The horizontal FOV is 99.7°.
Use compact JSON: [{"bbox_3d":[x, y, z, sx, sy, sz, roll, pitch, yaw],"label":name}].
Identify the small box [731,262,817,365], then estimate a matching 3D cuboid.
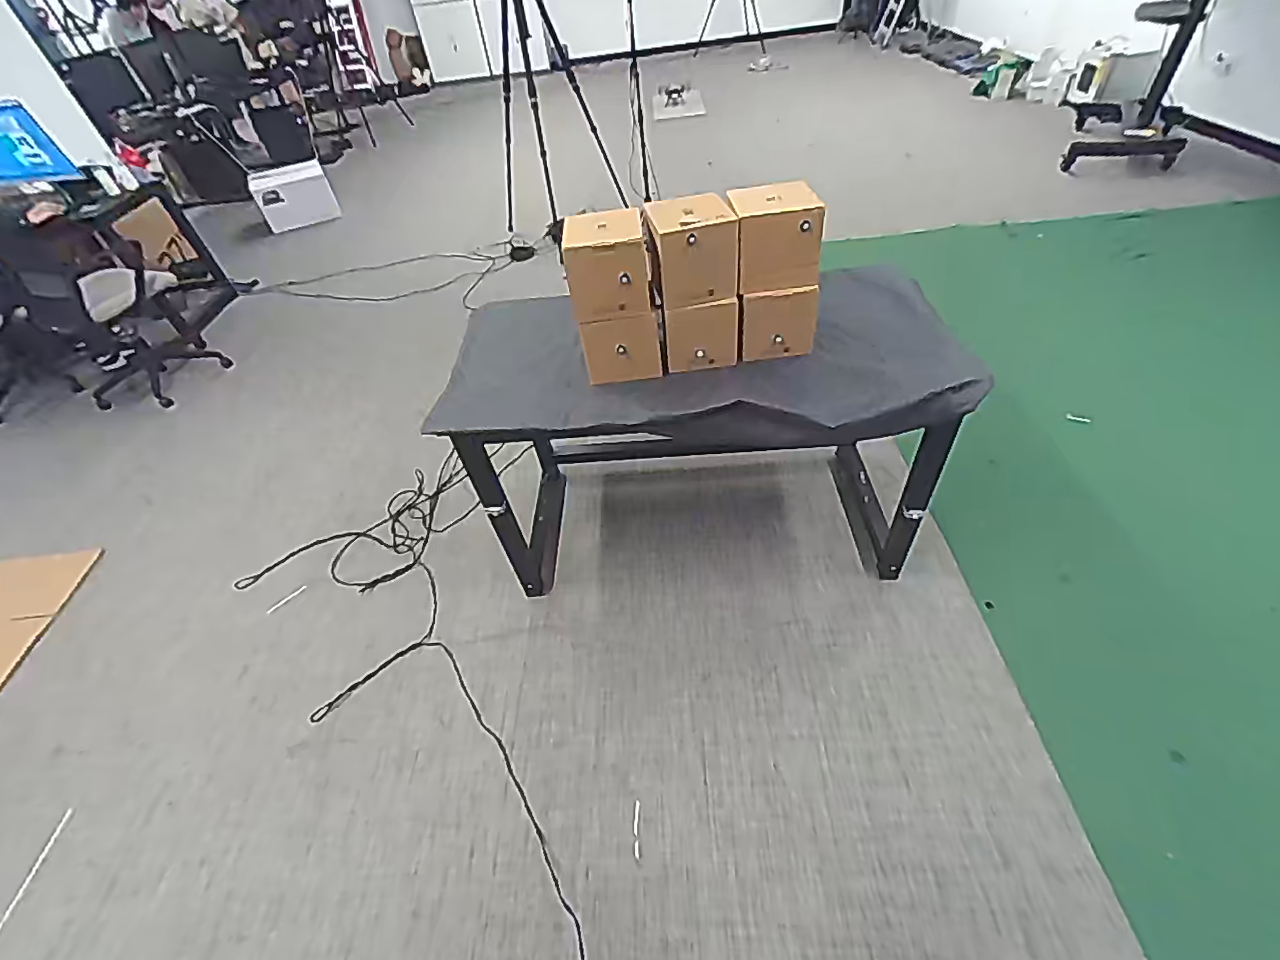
[{"bbox_3d":[0.314,-0.400,1.304,0.168,0.176,0.179,-7,45,3],"label":"small box"}]
